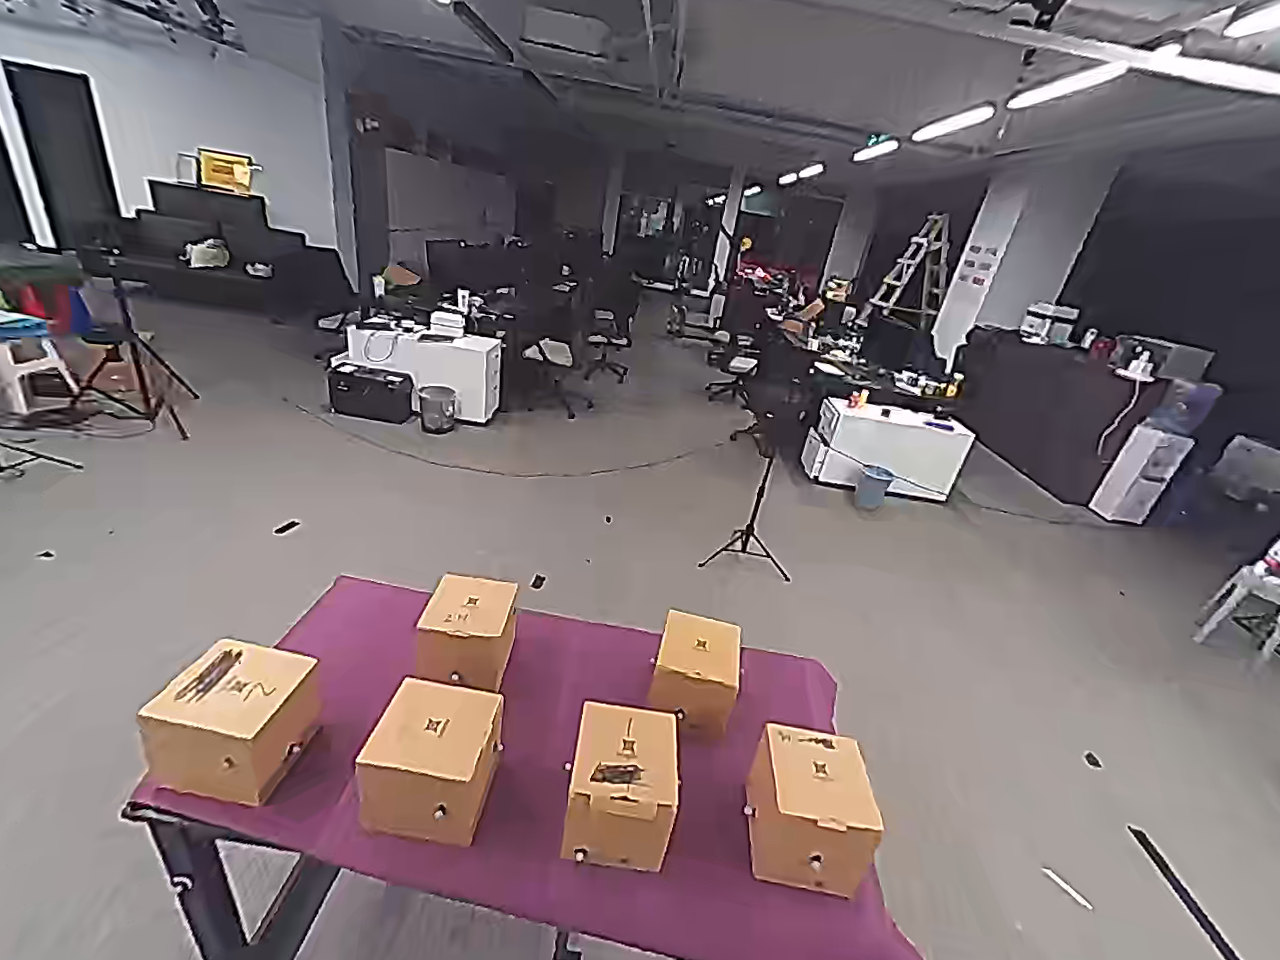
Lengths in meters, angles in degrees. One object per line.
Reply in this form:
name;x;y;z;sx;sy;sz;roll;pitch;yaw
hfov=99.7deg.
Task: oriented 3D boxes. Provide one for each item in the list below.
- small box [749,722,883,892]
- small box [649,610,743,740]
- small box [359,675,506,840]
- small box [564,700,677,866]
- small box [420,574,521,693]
small box;0.288;0.557;0.926;0.168;0.176;0.179;11;24;3
small box;0.119;0.416;1.164;0.168;0.176;0.179;12;28;6
small box;-0.337;0.462;0.903;0.179;0.176;0.168;11;25;0
small box;-0.031;0.510;0.913;0.168;0.176;0.179;9;25;-1
small box;-0.361;0.331;1.165;0.168;0.176;0.179;8;26;-3
